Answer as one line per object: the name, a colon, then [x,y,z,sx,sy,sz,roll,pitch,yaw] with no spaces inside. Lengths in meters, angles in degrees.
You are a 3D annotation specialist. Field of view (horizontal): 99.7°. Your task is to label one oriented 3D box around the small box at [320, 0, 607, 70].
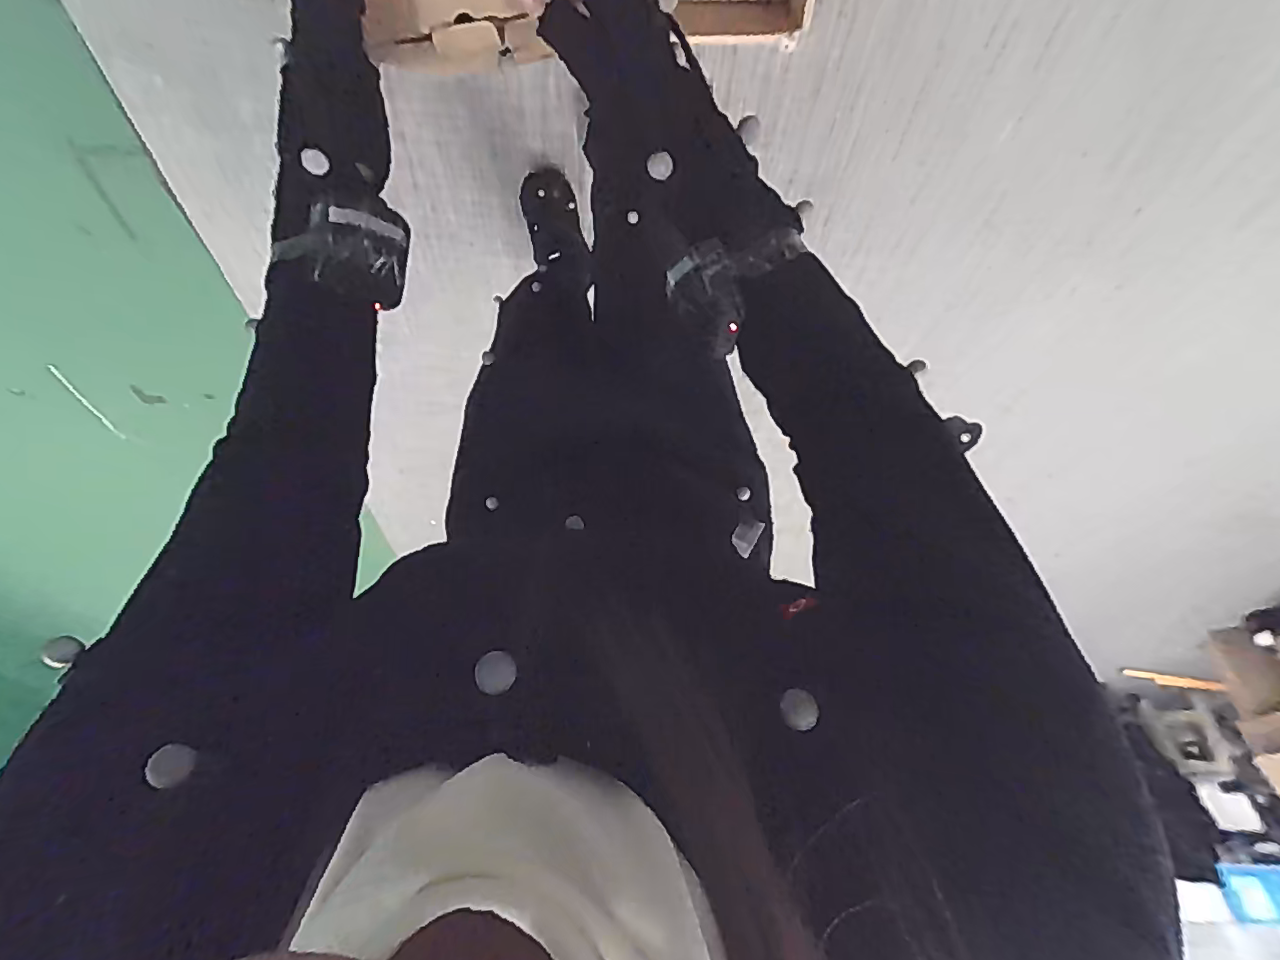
small box: [-0.124,-0.403,0.372,0.168,0.176,0.179,-4,121,8]
